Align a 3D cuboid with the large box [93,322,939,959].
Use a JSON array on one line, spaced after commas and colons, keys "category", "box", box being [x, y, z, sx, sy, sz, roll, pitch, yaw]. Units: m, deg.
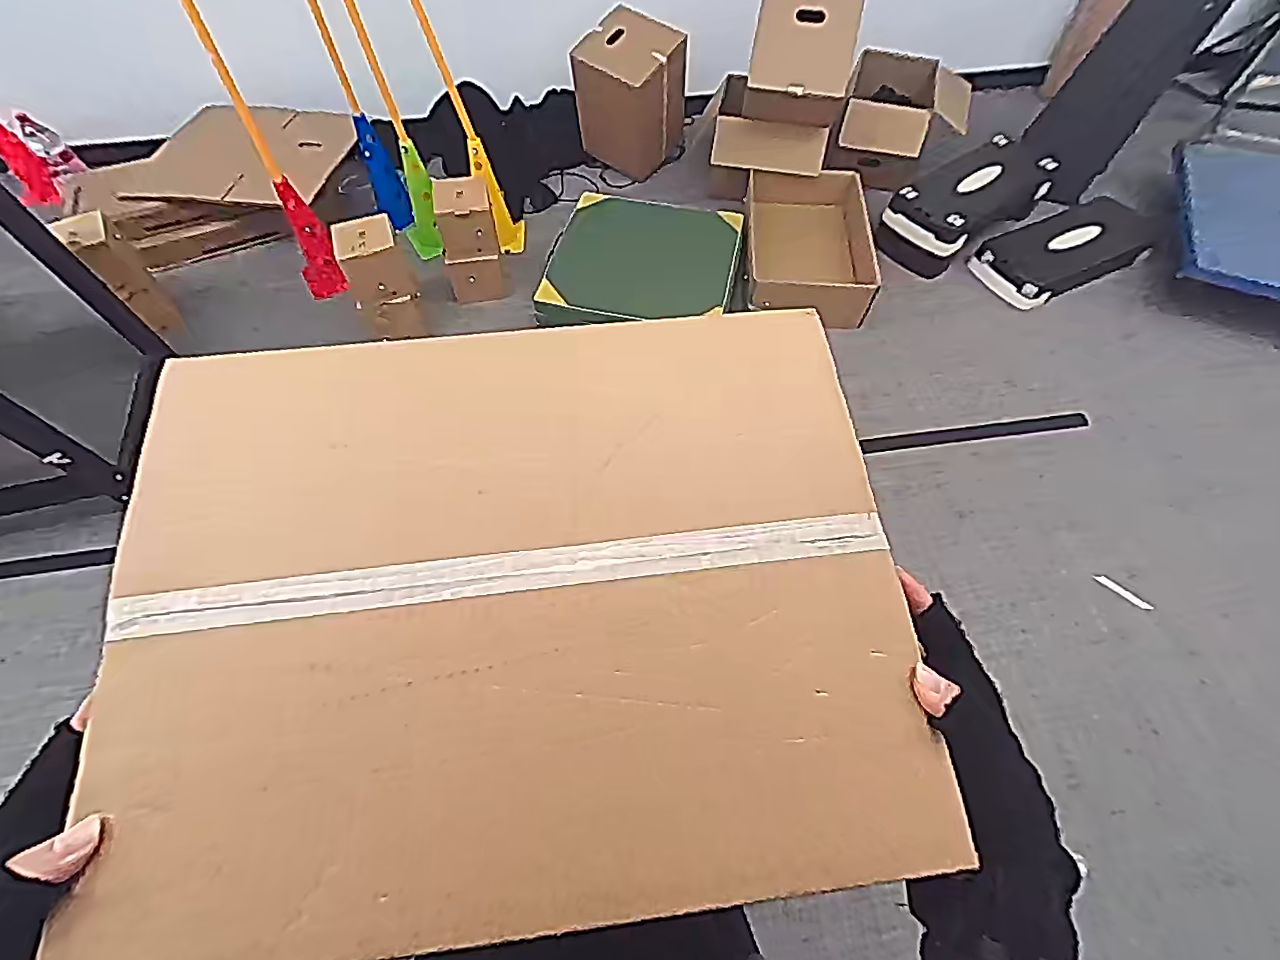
[{"category": "large box", "box": [-0.071, 0.108, 0.444, 0.408, 0.320, 0.320, -6, 70, -4]}]
